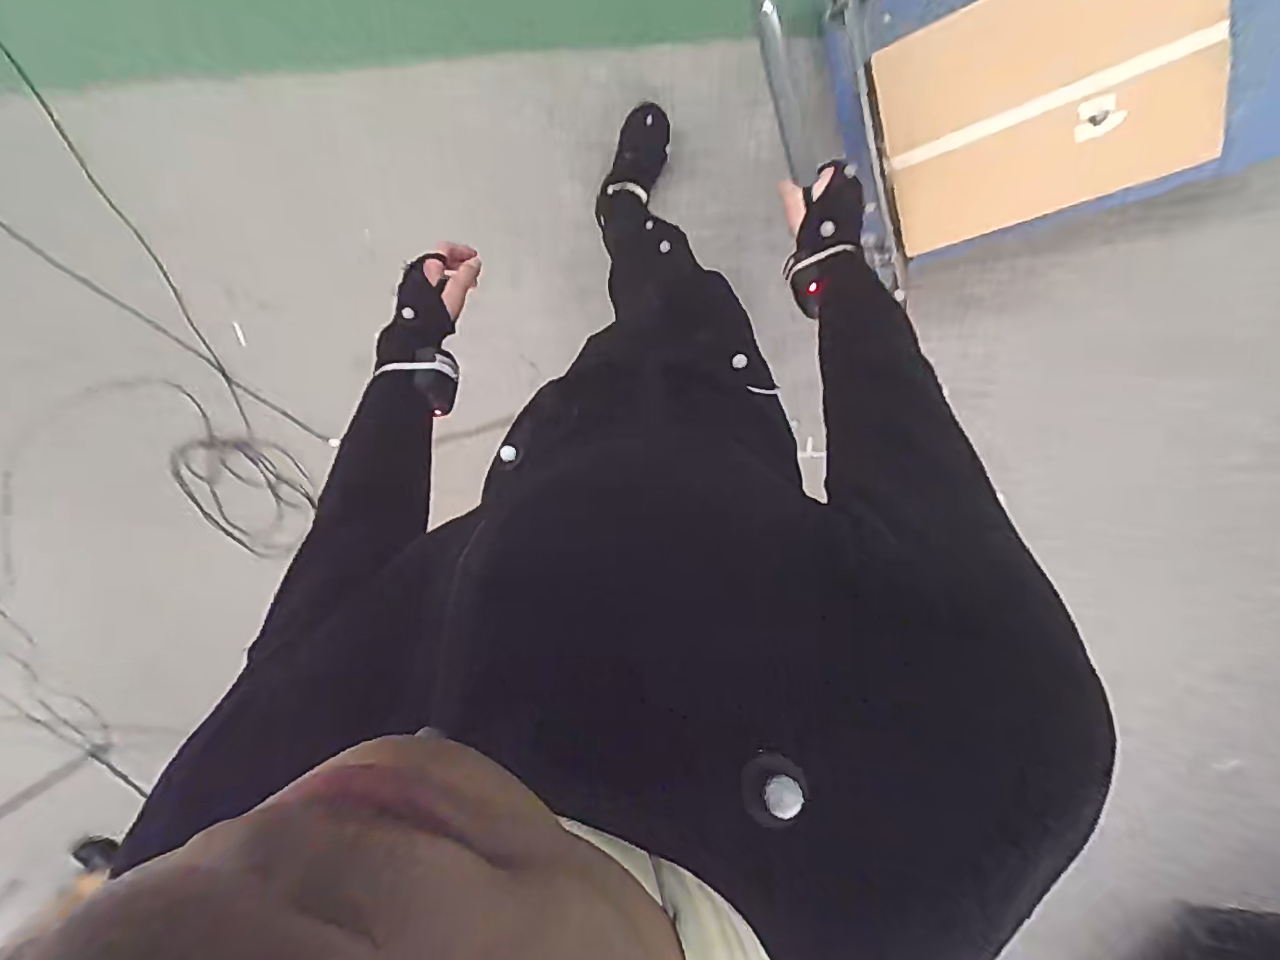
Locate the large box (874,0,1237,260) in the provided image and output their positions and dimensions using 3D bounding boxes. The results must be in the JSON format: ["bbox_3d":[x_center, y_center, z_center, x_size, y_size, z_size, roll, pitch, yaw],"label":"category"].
[{"bbox_3d":[0.635,-0.616,0.900,0.408,0.320,0.320,-10,118,28],"label":"large box"}]
